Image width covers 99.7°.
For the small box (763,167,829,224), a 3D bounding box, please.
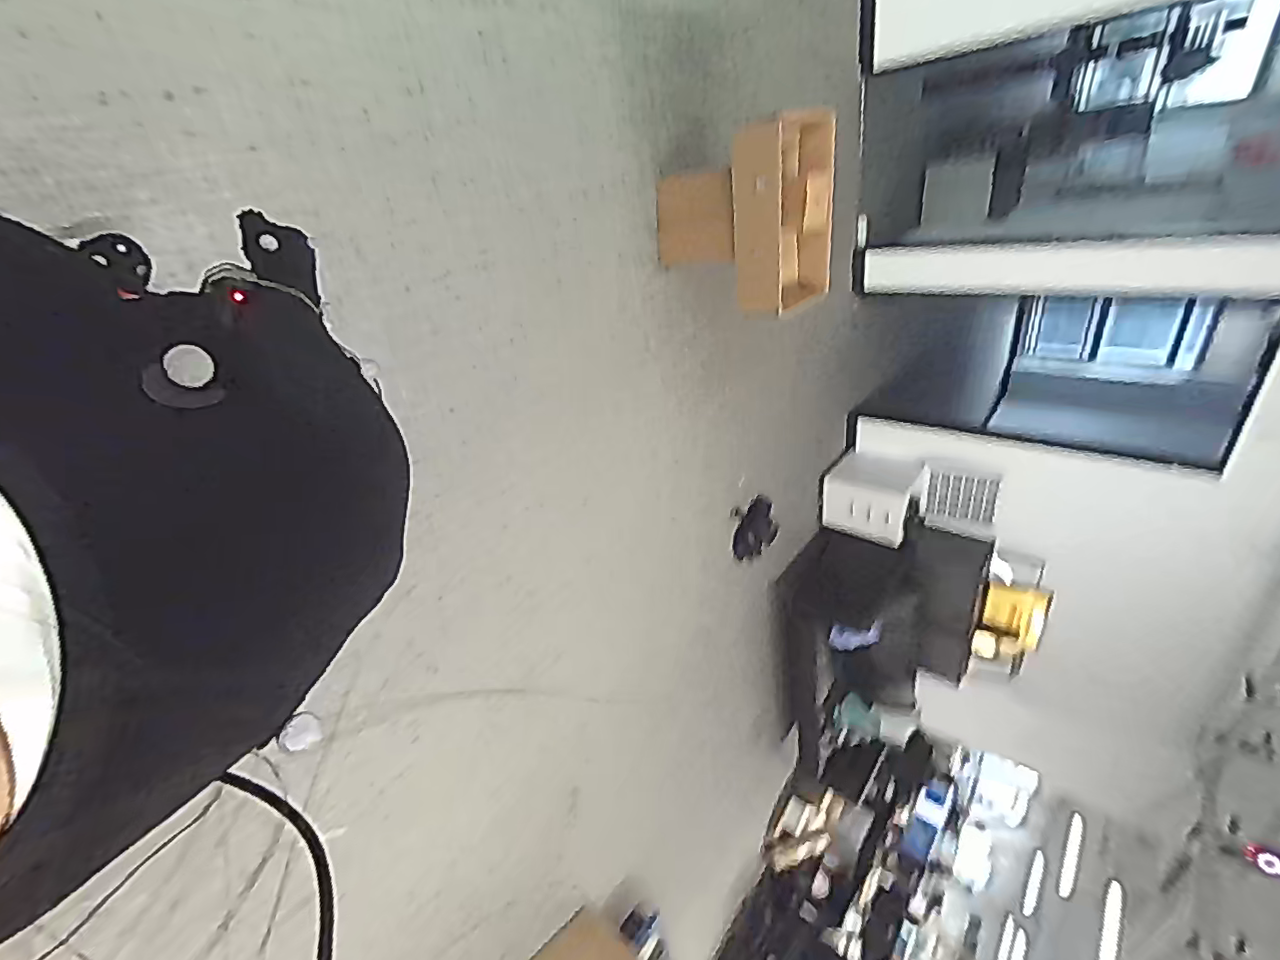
[{"bbox_3d":[0.545,-1.001,1.904,0.179,0.176,0.168,-34,130,-41],"label":"small box"}]
